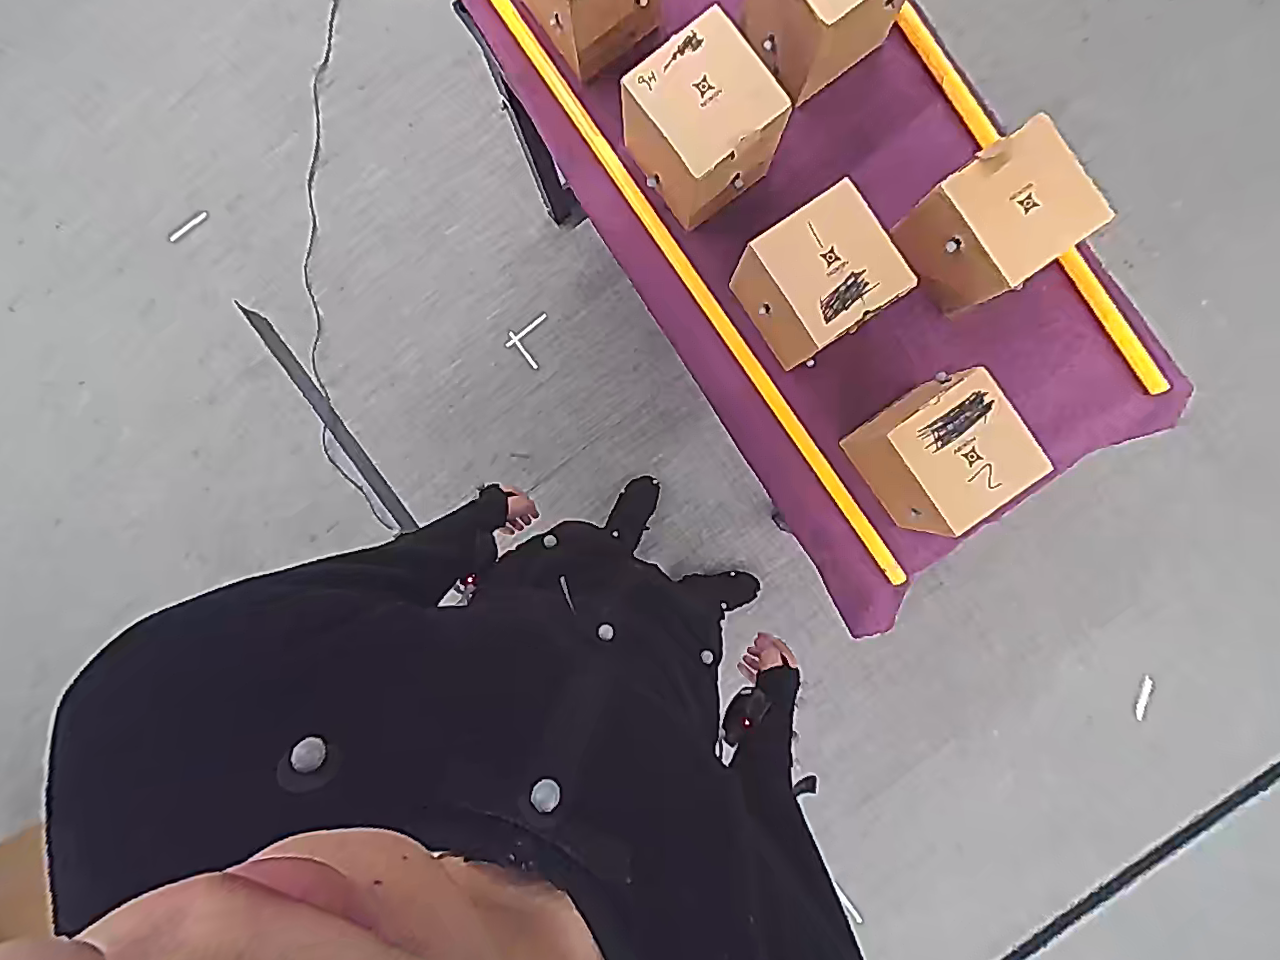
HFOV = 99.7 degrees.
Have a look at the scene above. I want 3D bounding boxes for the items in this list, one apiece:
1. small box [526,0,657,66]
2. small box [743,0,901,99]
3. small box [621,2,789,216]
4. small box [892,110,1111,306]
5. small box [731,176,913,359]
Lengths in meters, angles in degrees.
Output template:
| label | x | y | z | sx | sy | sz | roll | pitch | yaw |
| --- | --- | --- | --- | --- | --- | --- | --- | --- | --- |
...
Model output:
| label | x | y | z | sx | sy | sz | roll | pitch | yaw |
| --- | --- | --- | --- | --- | --- | --- | --- | --- | --- |
| small box | -0.081 | -0.770 | 0.802 | 0.168 | 0.176 | 0.179 | -36 | 93 | 1 |
| small box | 0.274 | -0.728 | 0.798 | 0.179 | 0.176 | 0.168 | -35 | 91 | 4 |
| small box | 0.090 | -0.529 | 0.809 | 0.168 | 0.176 | 0.179 | -37 | 92 | 2 |
| small box | 0.520 | -0.383 | 0.806 | 0.168 | 0.176 | 0.179 | -35 | 90 | 3 |
| small box | 0.259 | -0.299 | 0.812 | 0.168 | 0.176 | 0.179 | -33 | 90 | 0 |
